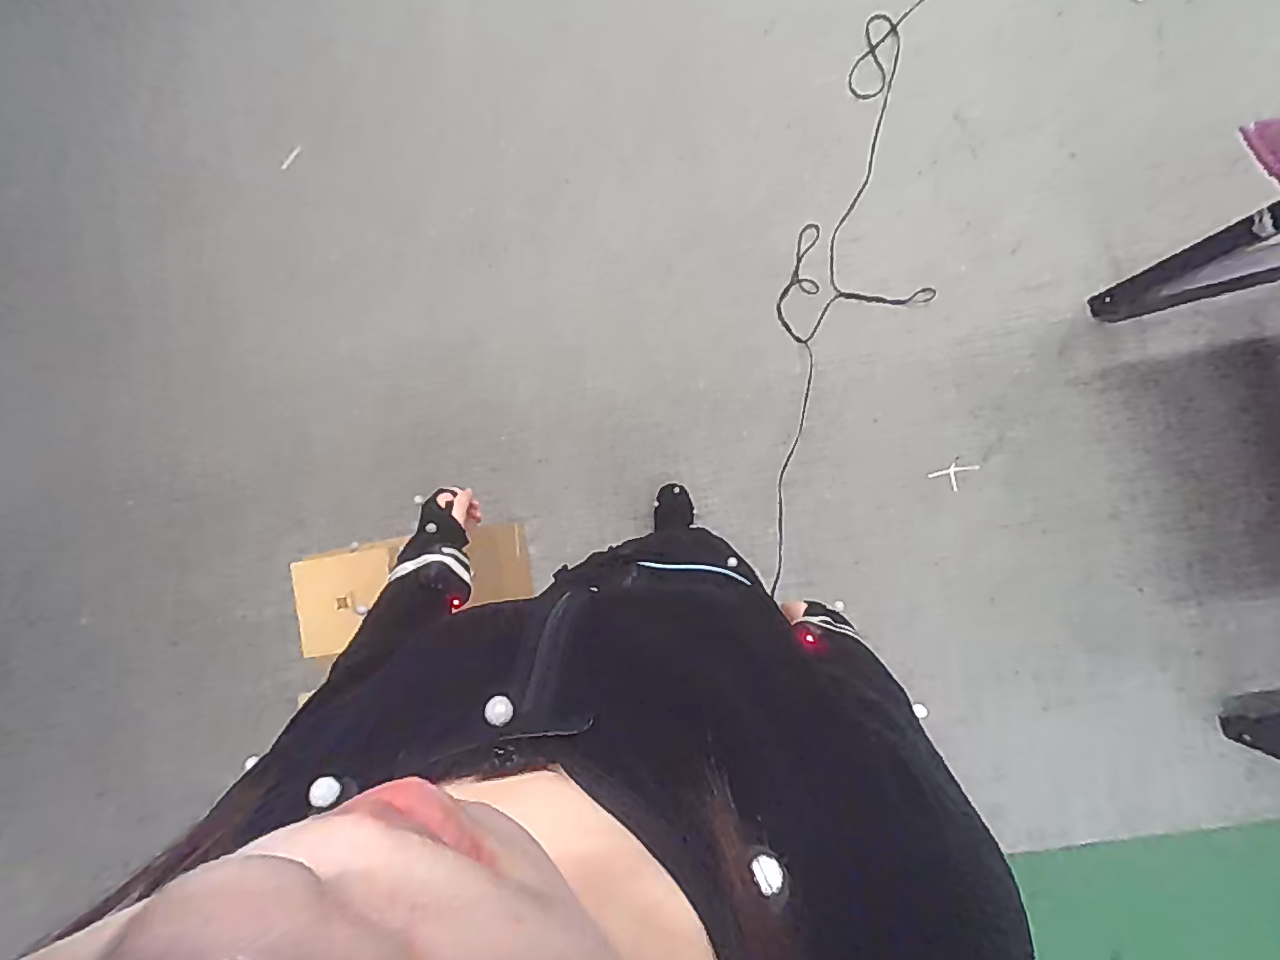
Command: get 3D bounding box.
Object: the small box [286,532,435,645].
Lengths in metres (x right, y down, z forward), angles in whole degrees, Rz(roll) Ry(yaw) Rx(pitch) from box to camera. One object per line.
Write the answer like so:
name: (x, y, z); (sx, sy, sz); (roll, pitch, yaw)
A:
small box: (-0.505, 0.192, 0.996); (0.179, 0.176, 0.168); (-9, 89, 3)
